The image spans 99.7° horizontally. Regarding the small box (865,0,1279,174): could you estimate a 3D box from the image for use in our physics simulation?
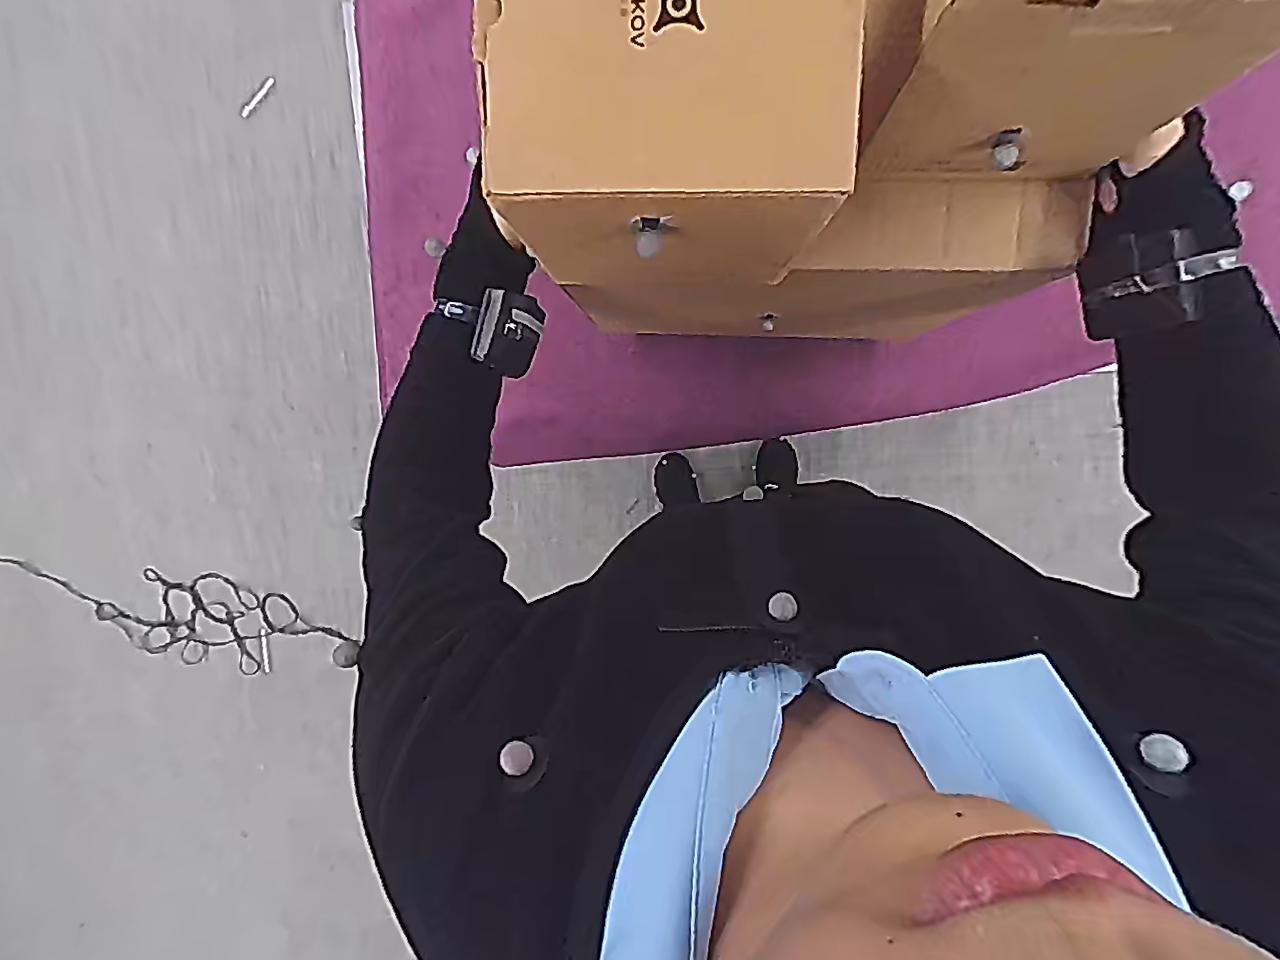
[{"bbox_3d":[0.231,-0.293,0.287,0.168,0.176,0.179,3,95,6],"label":"small box"}]

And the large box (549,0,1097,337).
[{"bbox_3d":[0.143,-0.322,0.540,0.408,0.320,0.320,2,94,5],"label":"large box"}]
